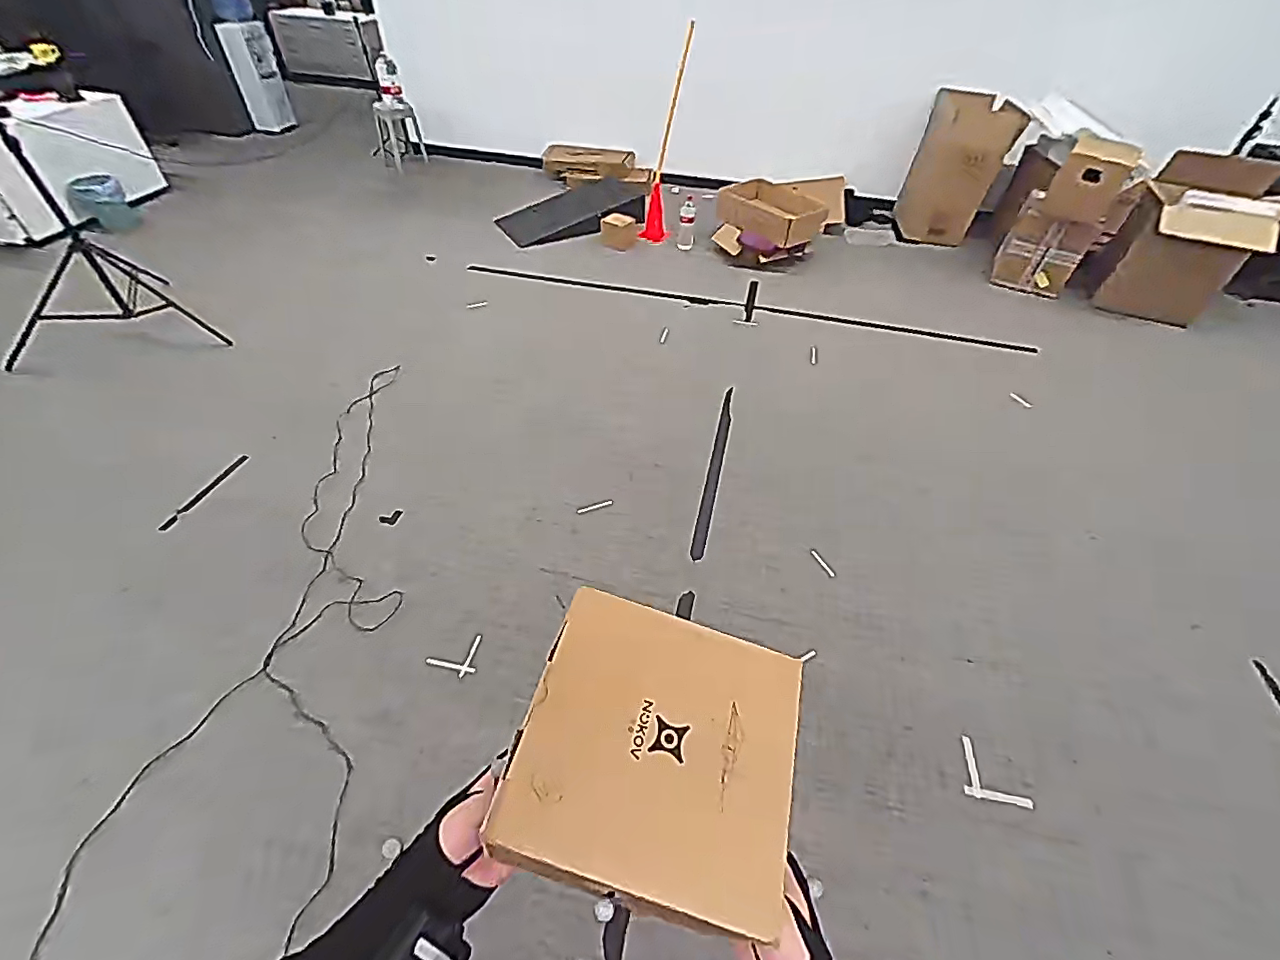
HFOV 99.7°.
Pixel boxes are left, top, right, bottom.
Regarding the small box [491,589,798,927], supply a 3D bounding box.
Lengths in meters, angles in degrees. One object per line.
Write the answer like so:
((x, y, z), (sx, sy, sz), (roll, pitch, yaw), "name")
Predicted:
((0.001, 0.216, 0.420), (0.179, 0.176, 0.168), (19, 52, 1), "small box")
